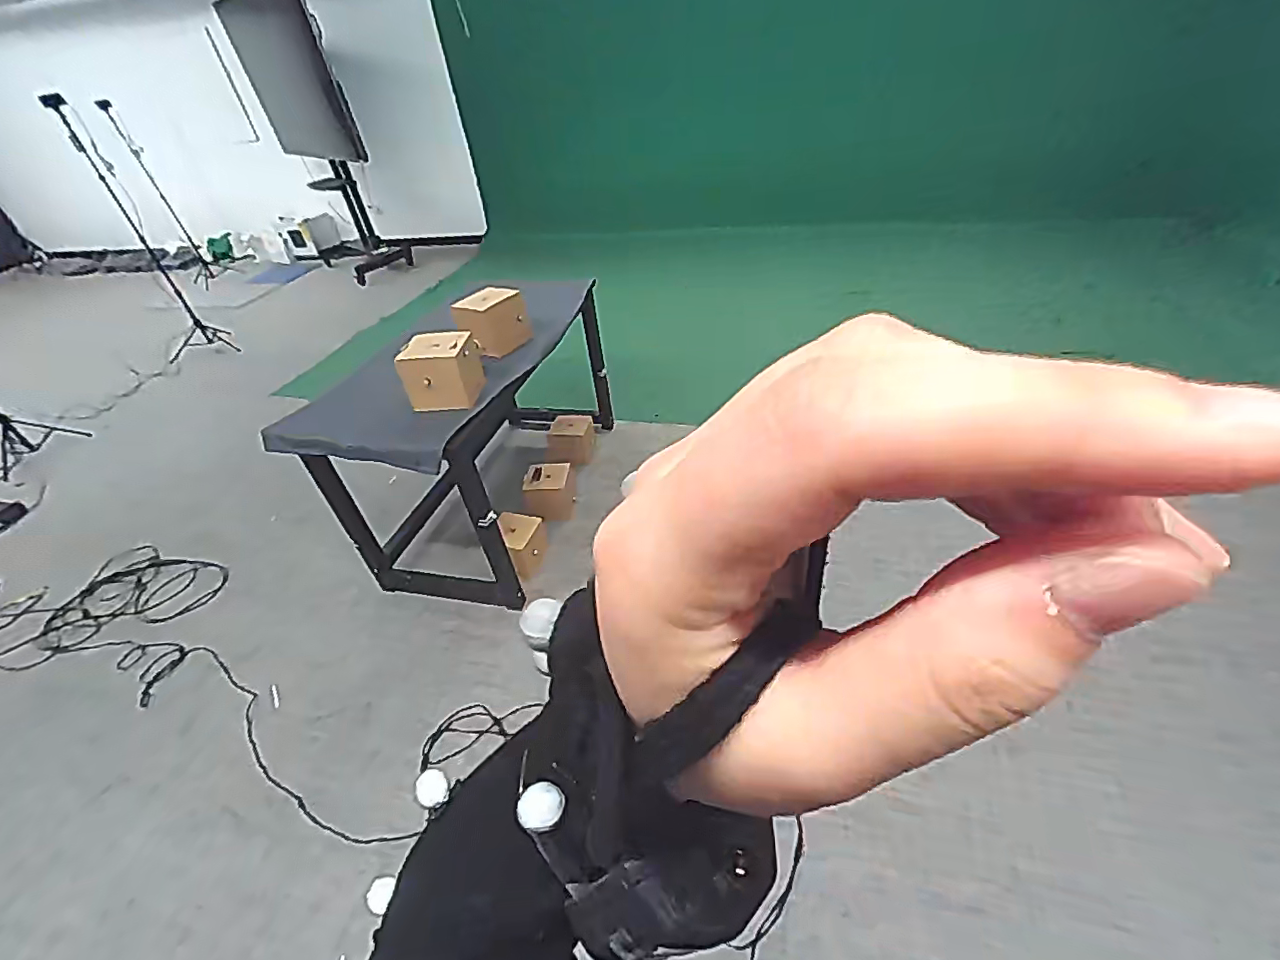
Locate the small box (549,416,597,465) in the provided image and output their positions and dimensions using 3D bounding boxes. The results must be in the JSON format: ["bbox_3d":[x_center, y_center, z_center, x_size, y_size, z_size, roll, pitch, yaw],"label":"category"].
[{"bbox_3d":[-0.309,-0.184,2.534,0.179,0.176,0.168,2,40,11],"label":"small box"}]

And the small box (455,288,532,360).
[{"bbox_3d":[-0.486,-0.531,1.834,0.168,0.176,0.179,17,47,31],"label":"small box"}]

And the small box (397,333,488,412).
[{"bbox_3d":[-0.567,-0.311,1.577,0.179,0.176,0.168,-3,39,5],"label":"small box"}]

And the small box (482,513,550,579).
[{"bbox_3d":[-0.459,0.251,2.034,0.179,0.176,0.168,8,42,18],"label":"small box"}]
